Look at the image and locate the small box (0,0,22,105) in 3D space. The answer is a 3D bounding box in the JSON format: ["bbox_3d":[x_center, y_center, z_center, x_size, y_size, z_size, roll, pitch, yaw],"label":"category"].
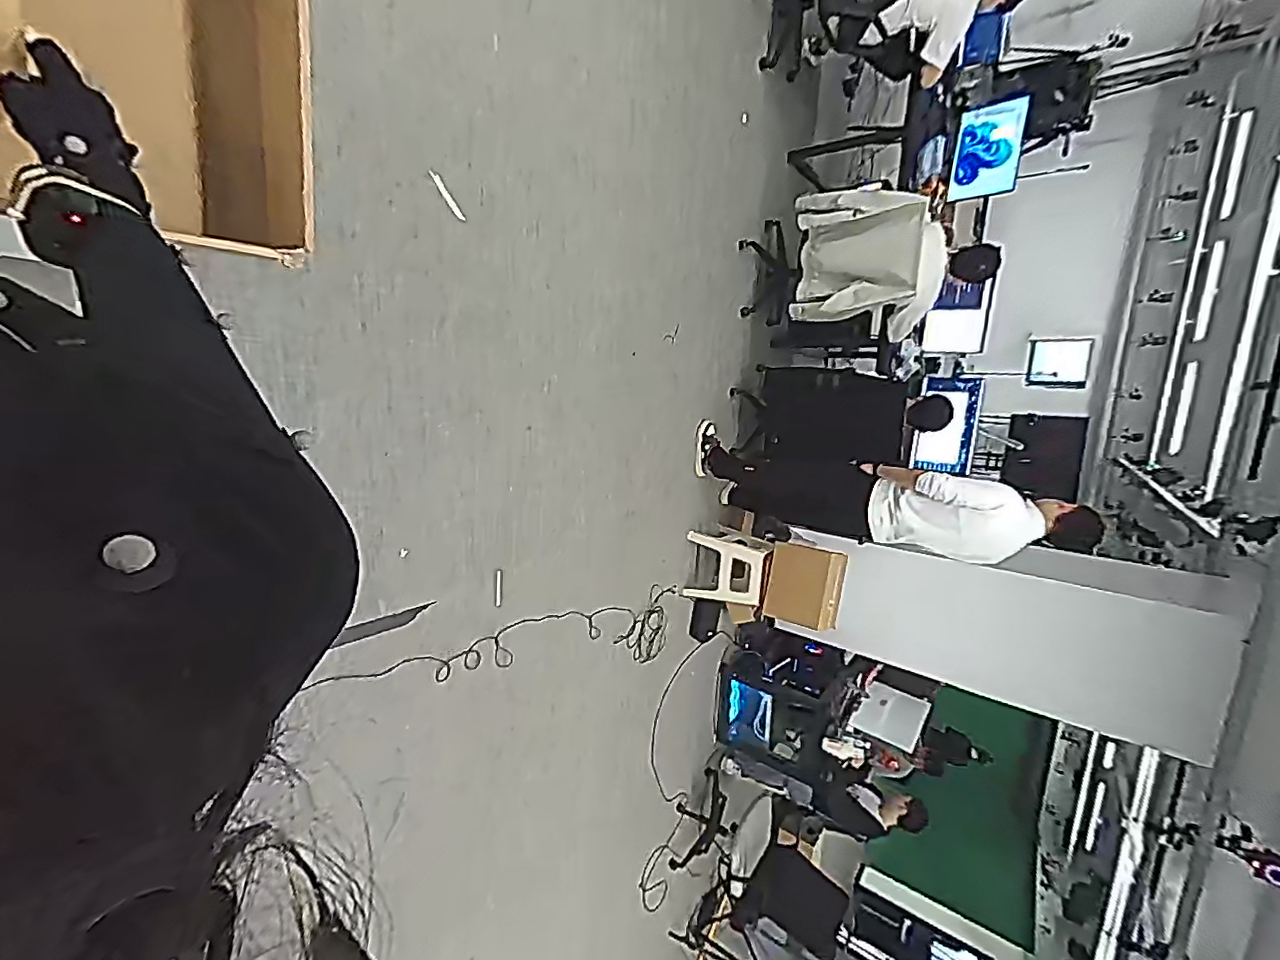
[{"bbox_3d":[-0.659,-0.447,0.450,0.168,0.176,0.179,-9,111,-54],"label":"small box"}]
